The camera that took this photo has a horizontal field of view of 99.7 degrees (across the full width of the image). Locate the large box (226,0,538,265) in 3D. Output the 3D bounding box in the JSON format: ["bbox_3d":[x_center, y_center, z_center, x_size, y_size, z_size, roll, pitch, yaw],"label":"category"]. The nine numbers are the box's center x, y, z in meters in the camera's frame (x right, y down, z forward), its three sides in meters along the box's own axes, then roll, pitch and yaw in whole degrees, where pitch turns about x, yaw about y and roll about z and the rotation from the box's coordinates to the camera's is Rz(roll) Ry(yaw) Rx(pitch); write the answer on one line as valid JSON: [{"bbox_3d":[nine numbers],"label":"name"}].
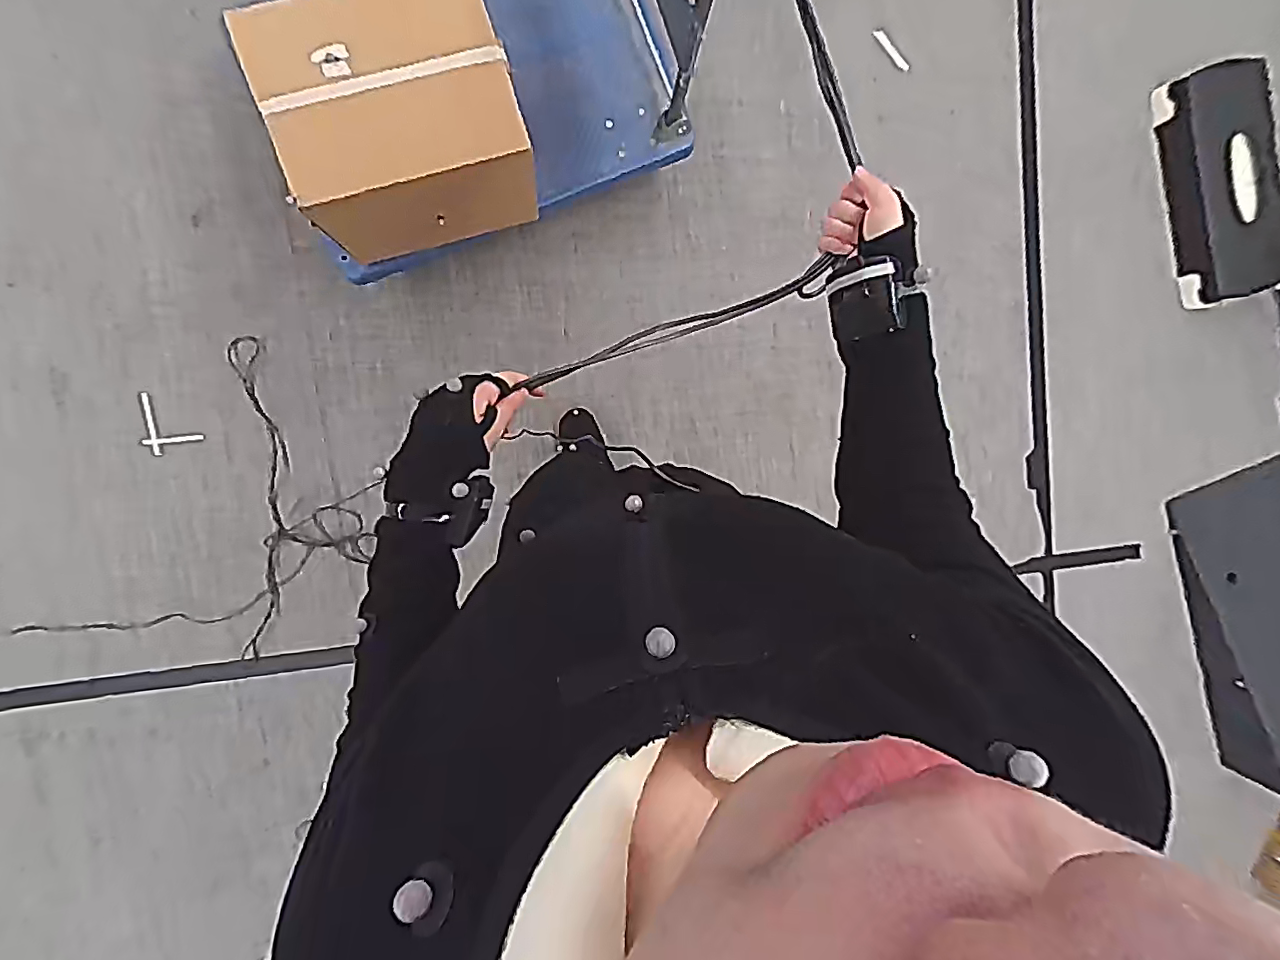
[{"bbox_3d":[-0.442,-0.658,1.037,0.408,0.320,0.320,-19,96,-6],"label":"large box"}]
